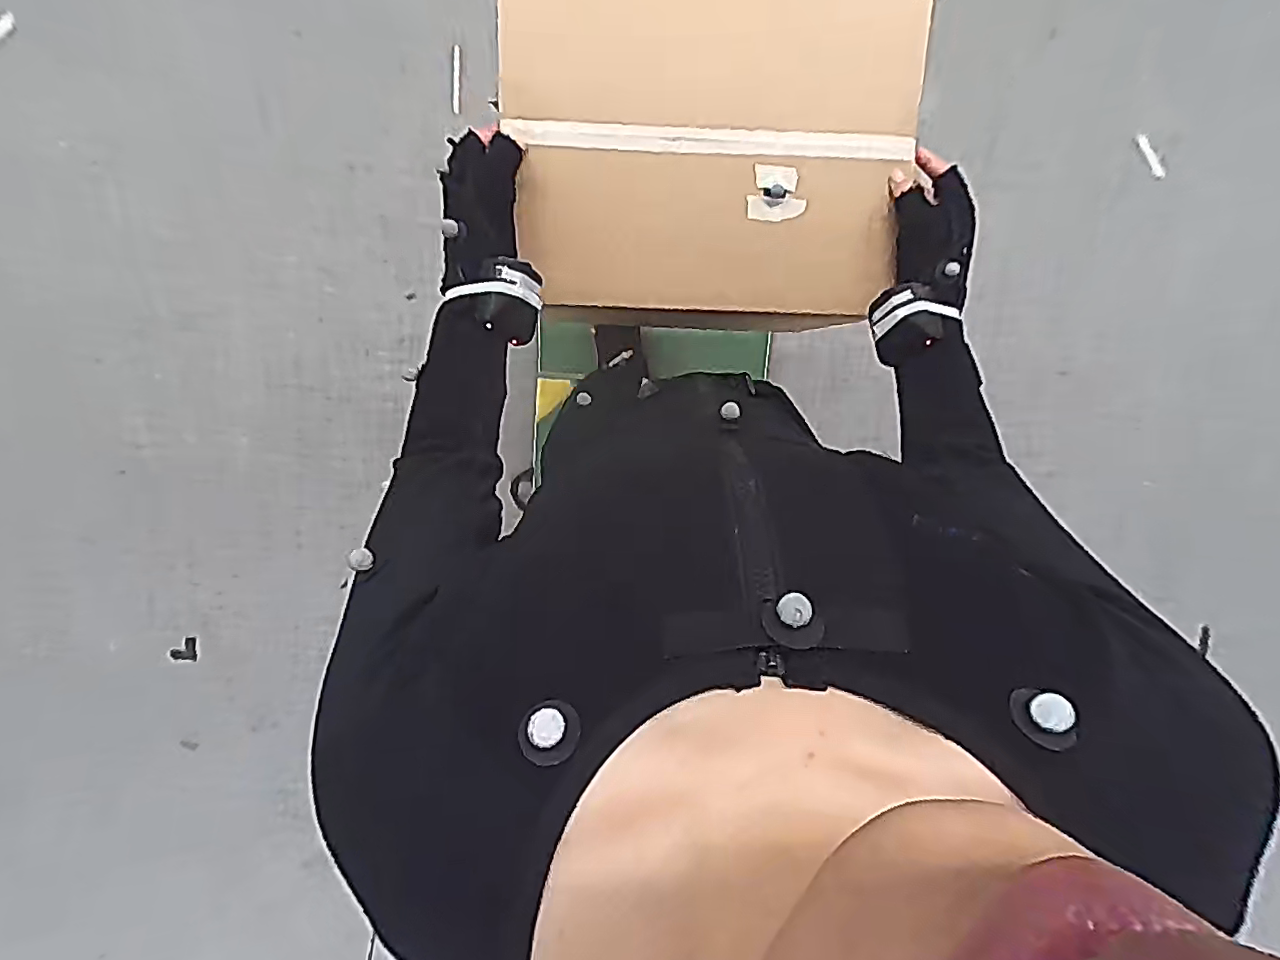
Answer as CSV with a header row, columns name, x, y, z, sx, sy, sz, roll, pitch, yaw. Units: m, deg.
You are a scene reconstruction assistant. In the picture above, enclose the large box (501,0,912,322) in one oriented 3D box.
name,x,y,z,sx,sy,sz,roll,pitch,yaw
large box,0.057,-0.373,0.686,0.408,0.320,0.320,1,102,-3
